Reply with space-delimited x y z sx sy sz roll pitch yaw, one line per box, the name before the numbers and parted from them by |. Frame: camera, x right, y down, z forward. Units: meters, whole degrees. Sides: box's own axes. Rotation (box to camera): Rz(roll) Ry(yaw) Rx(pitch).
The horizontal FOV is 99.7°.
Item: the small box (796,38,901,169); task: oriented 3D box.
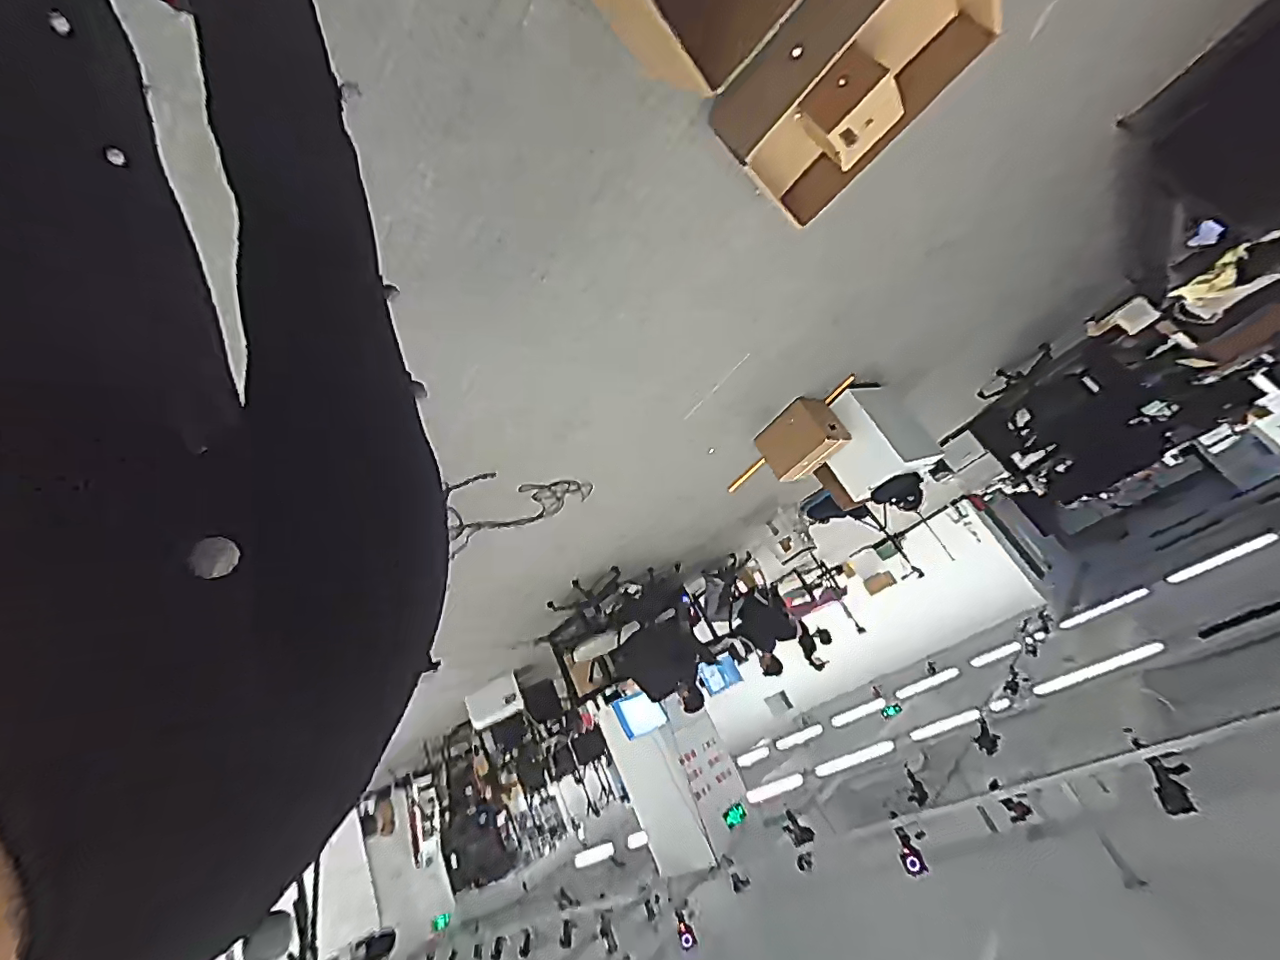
small box | 0.516 -0.941 1.357 0.179 0.176 0.168 -41 155 25
